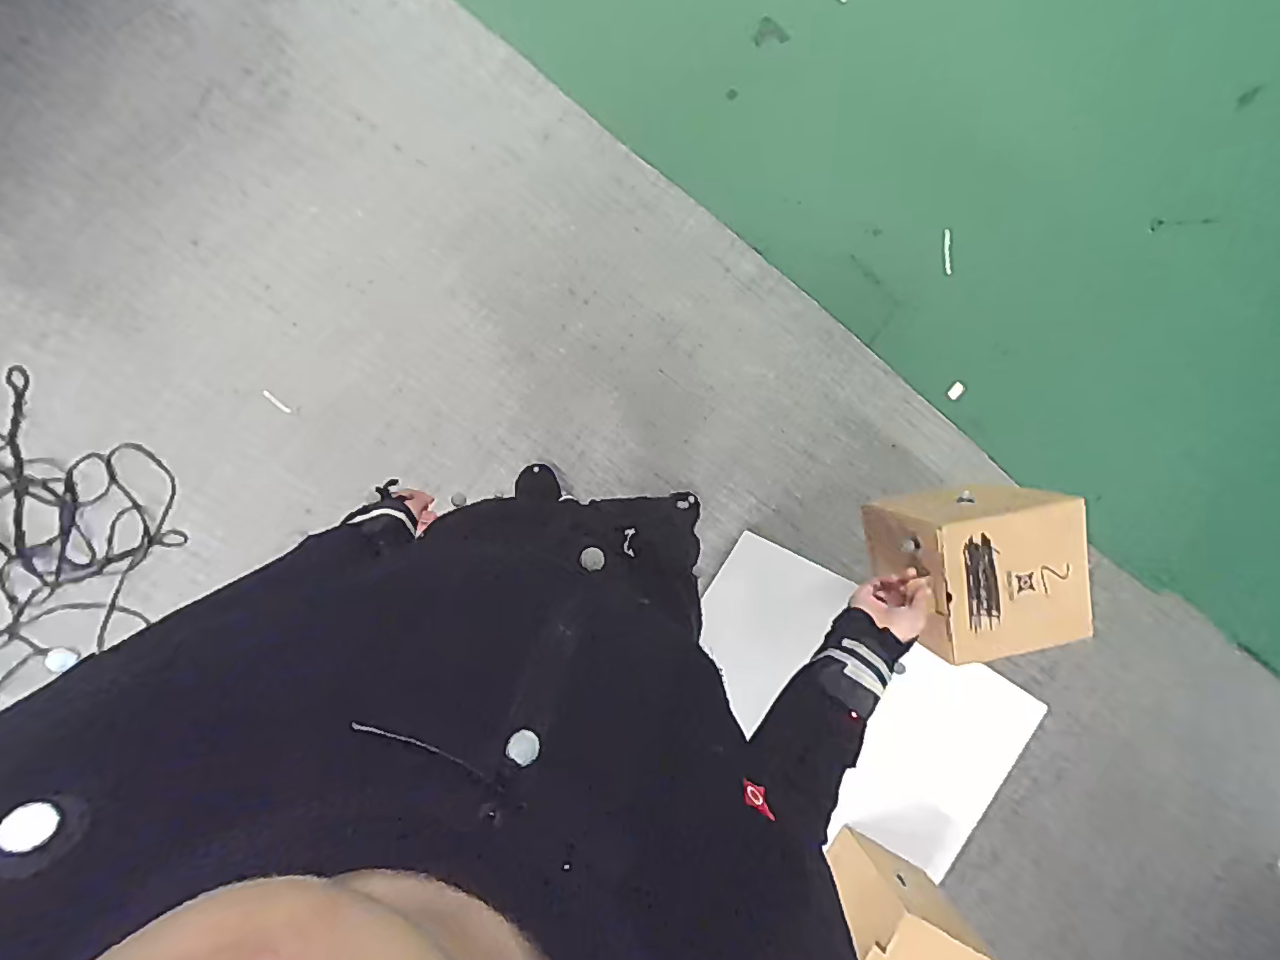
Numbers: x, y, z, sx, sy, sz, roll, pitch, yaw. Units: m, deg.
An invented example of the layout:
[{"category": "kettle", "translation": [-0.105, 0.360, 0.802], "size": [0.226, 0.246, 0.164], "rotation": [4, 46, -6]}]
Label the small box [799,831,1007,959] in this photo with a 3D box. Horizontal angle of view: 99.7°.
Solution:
[{"category": "small box", "translation": [0.364, 0.655, 0.779], "size": [0.179, 0.176, 0.168], "rotation": [33, 89, -9]}]
